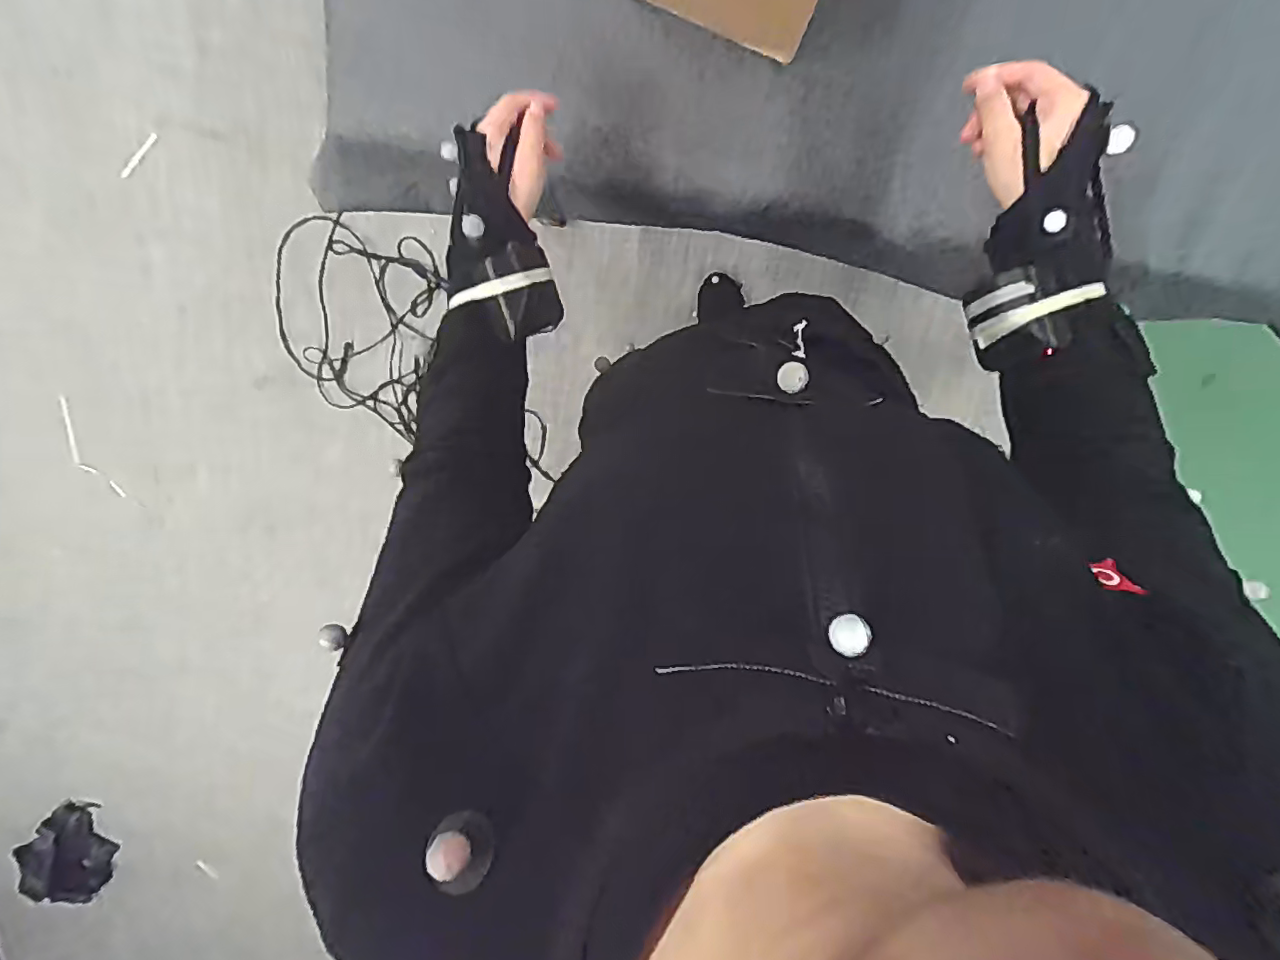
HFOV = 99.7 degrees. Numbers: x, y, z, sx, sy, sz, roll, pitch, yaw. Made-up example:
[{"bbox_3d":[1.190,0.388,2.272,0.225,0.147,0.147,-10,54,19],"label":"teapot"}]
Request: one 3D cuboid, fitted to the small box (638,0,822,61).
[{"bbox_3d":[0.081,-0.452,0.391,0.179,0.176,0.168,22,109,-3],"label":"small box"}]
